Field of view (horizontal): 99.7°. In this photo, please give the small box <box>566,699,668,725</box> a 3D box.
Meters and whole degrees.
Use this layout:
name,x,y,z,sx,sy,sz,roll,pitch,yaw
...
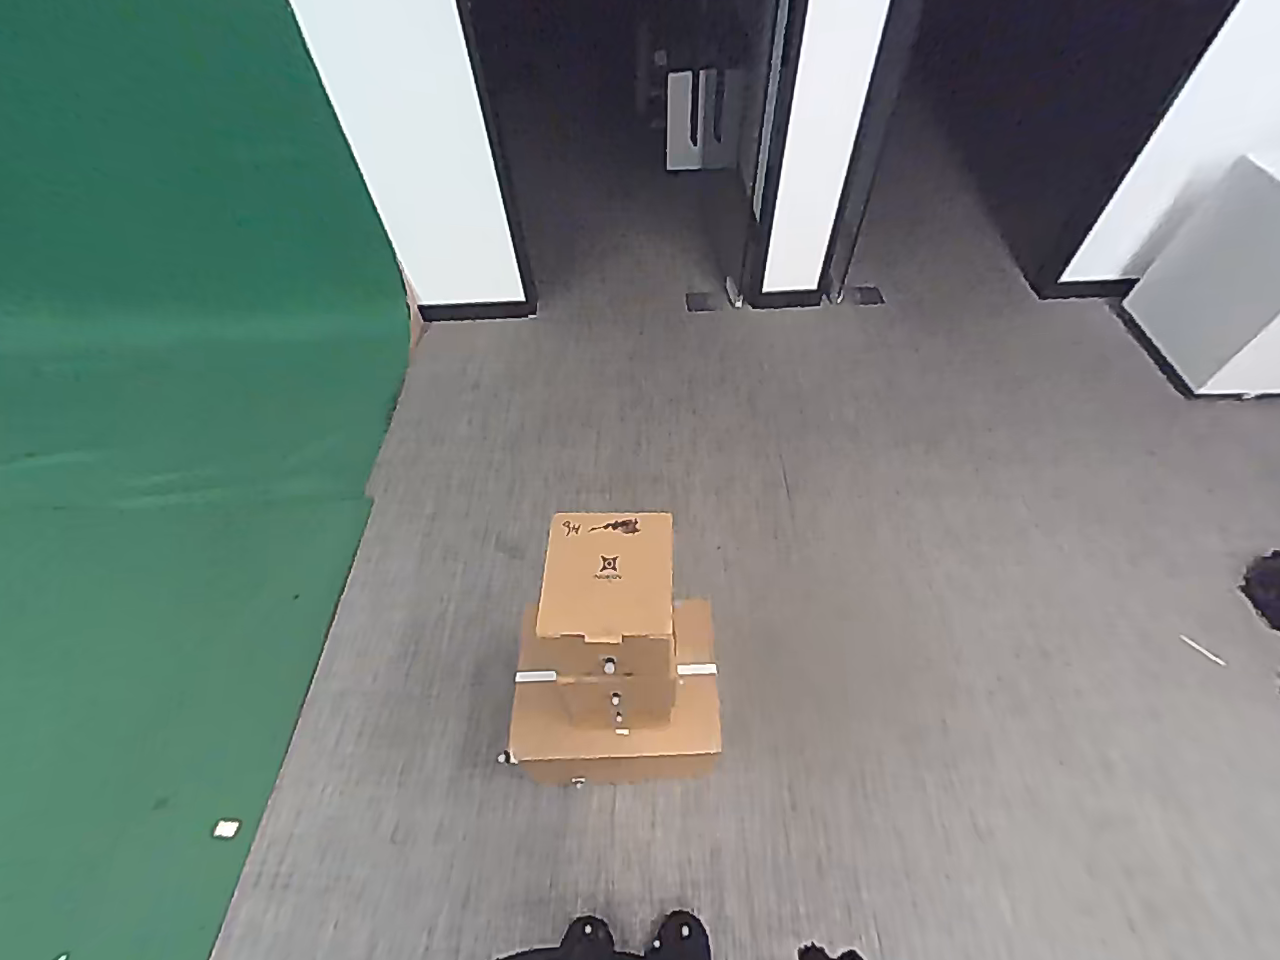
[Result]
name,x,y,z,sx,sy,sz,roll,pitch,yaw
small box,-0.036,0.358,1.018,0.179,0.176,0.168,0,55,1

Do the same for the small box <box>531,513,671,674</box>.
name,x,y,z,sx,sy,sz,roll,pitch,yaw
small box,-0.042,0.163,0.755,0.168,0.176,0.179,0,55,4

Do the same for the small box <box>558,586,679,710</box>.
name,x,y,z,sx,sy,sz,roll,pitch,yaw
small box,-0.034,0.267,0.882,0.179,0.176,0.168,-4,54,-1
